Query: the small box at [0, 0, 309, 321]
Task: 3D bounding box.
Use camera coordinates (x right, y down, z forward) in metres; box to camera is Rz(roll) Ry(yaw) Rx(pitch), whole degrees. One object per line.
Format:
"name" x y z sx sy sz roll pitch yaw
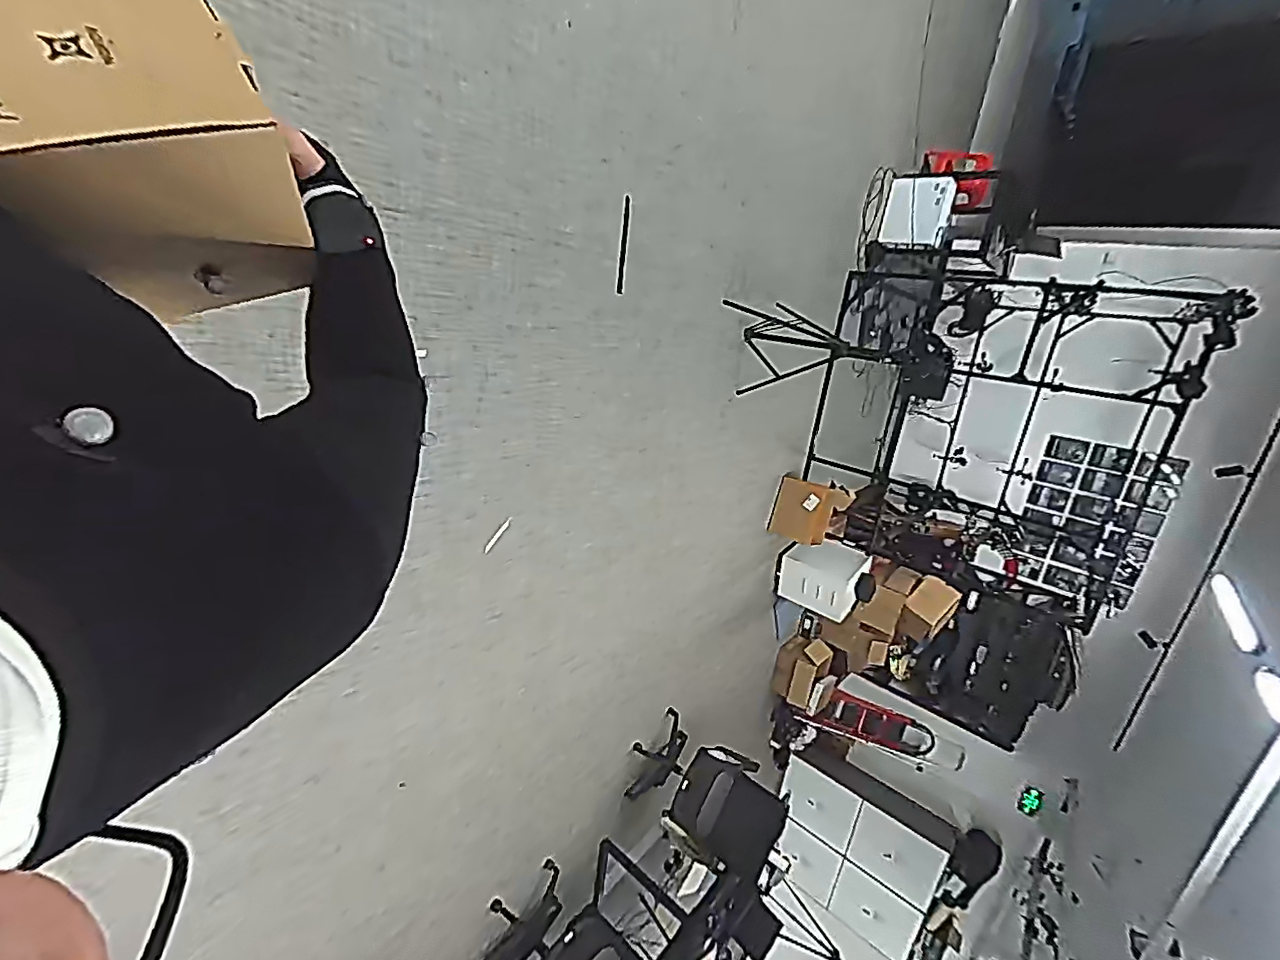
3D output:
"small box" -0.403 -0.263 0.448 0.179 0.168 0.176 -28 169 -28
